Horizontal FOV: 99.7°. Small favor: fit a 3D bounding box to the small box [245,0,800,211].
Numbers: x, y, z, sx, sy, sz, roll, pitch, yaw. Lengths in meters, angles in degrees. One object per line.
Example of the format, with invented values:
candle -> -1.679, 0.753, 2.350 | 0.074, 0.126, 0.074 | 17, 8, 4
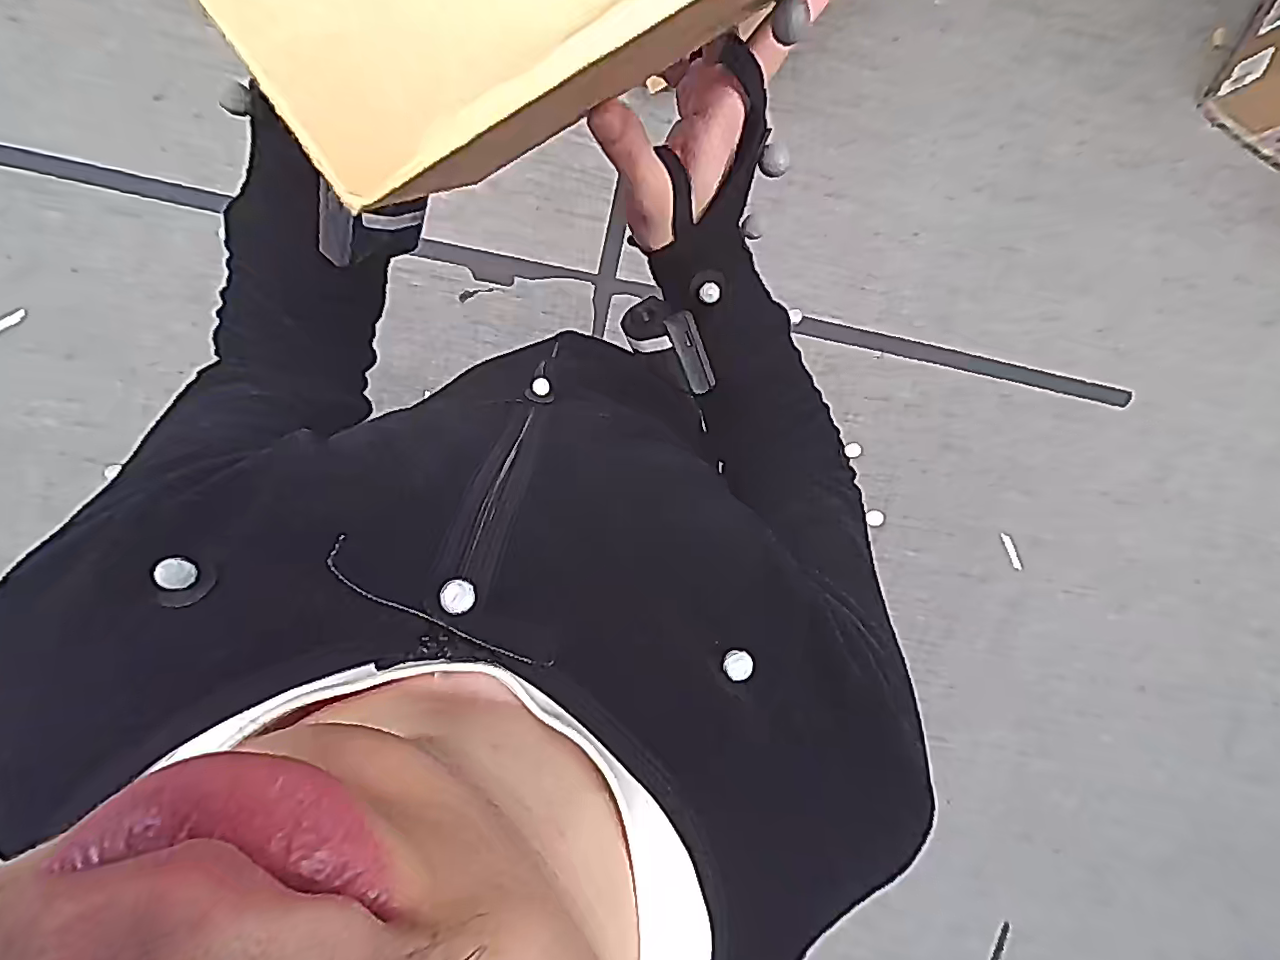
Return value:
small box -> -0.030, -0.204, 0.152 | 0.179, 0.176, 0.168 | -26, 119, 9
